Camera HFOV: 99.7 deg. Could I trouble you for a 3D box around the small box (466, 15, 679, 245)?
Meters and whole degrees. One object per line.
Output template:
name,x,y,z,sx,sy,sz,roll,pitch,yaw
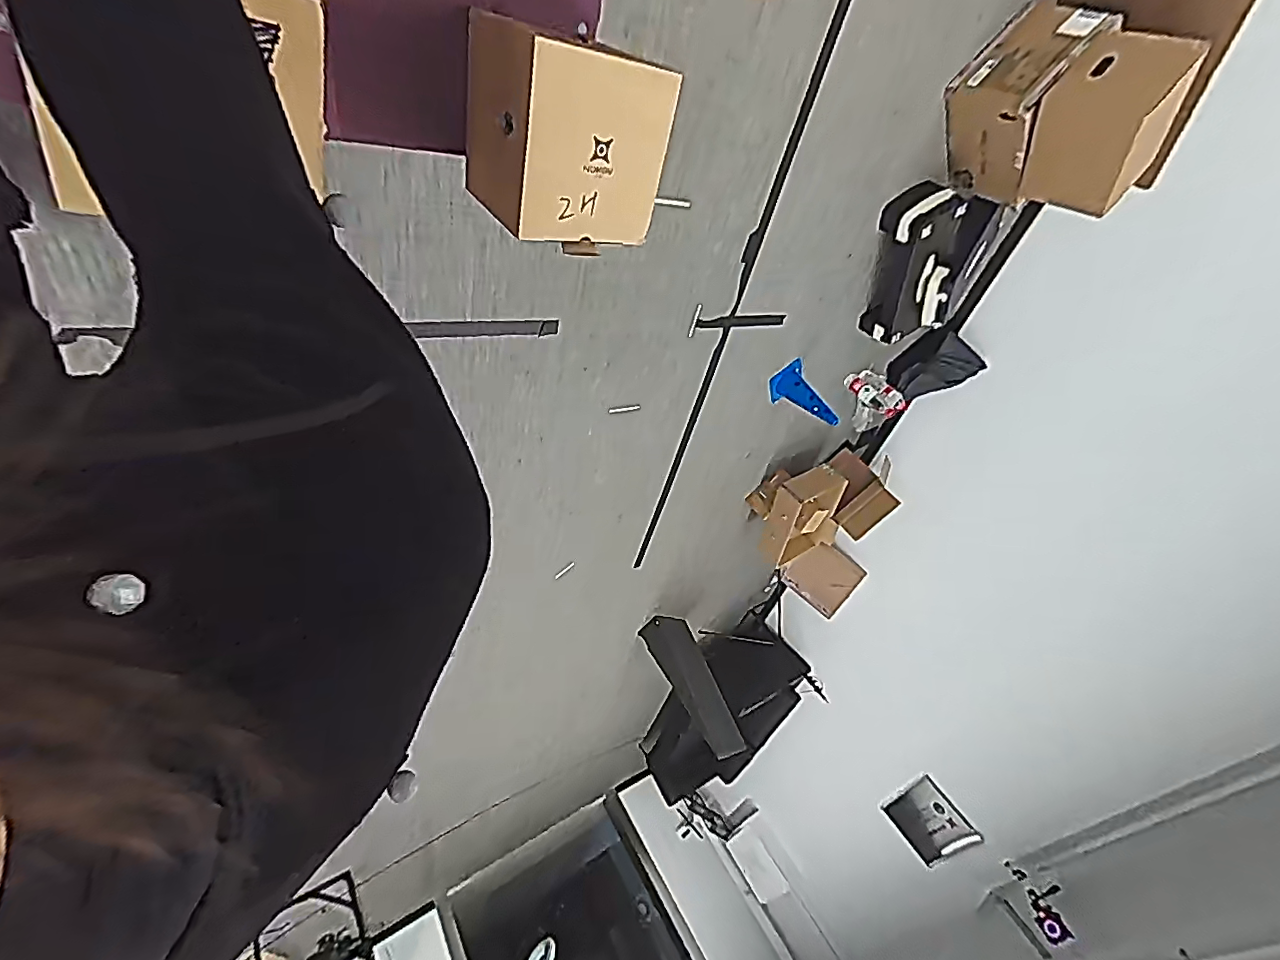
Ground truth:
small box,-0.087,-0.386,0.607,0.168,0.176,0.179,-13,138,-32

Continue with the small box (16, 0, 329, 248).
small box,-0.359,-0.316,0.429,0.168,0.176,0.179,-8,137,-38
